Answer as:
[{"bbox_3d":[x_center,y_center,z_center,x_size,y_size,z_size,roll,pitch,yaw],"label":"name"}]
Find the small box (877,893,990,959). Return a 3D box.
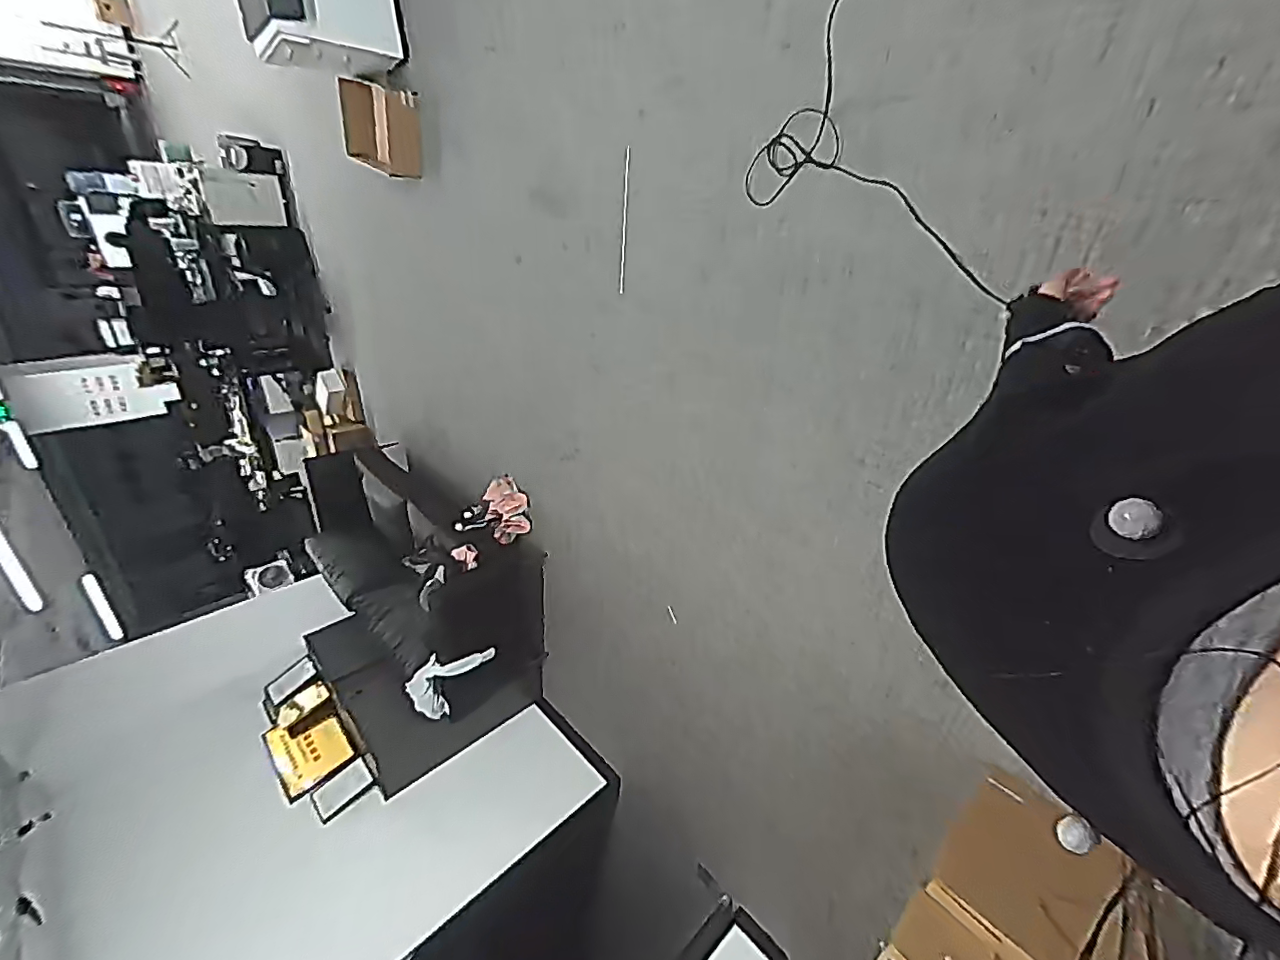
[{"bbox_3d":[0.676,1.129,1.258,0.179,0.176,0.168,30,126,37],"label":"small box"}]
